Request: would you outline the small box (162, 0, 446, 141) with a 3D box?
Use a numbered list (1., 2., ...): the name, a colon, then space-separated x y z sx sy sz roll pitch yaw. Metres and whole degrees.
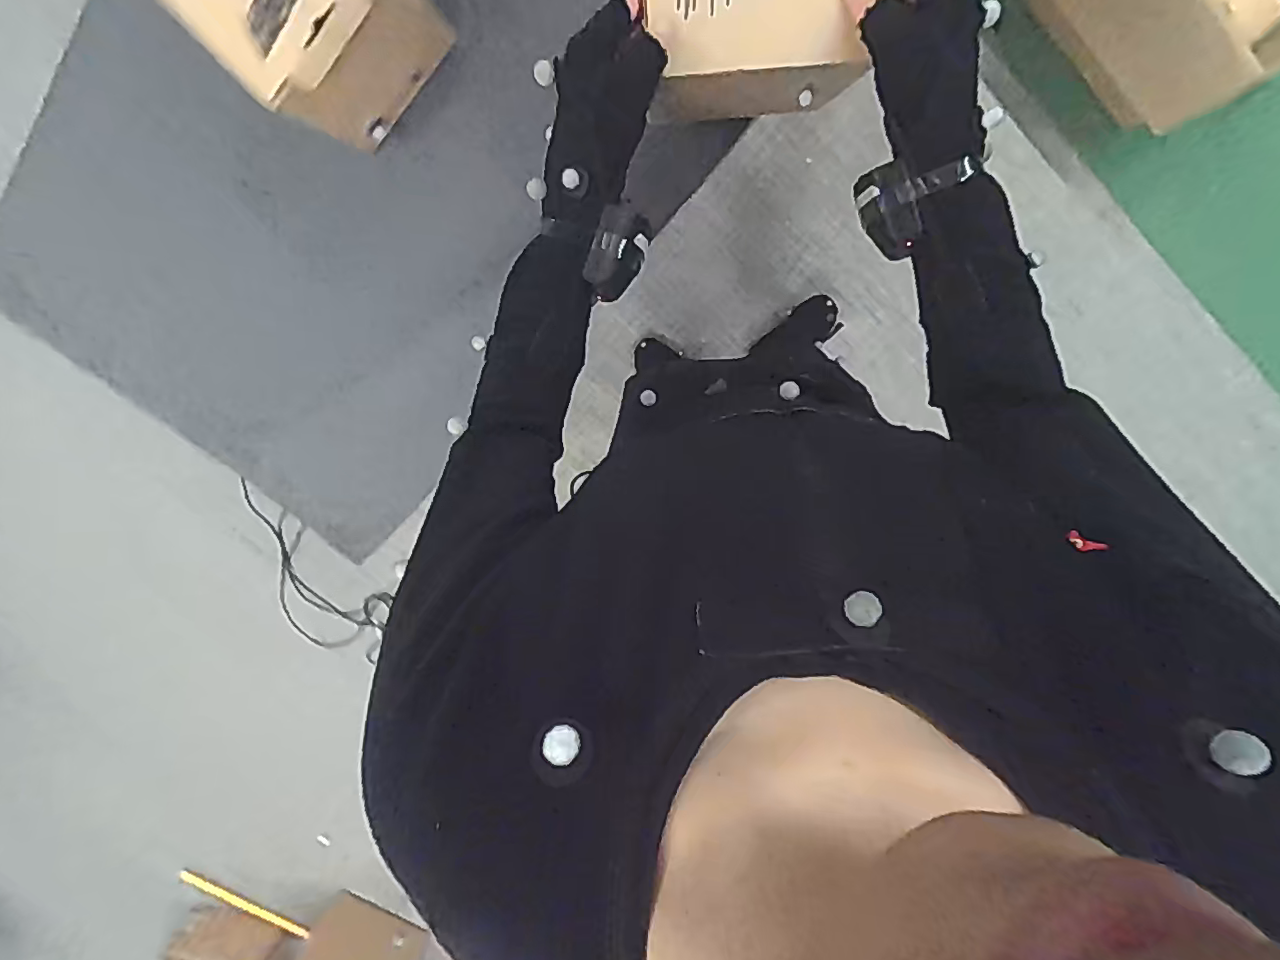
1. small box: -0.328 -0.471 0.530 0.168 0.176 0.179 -42 100 16
